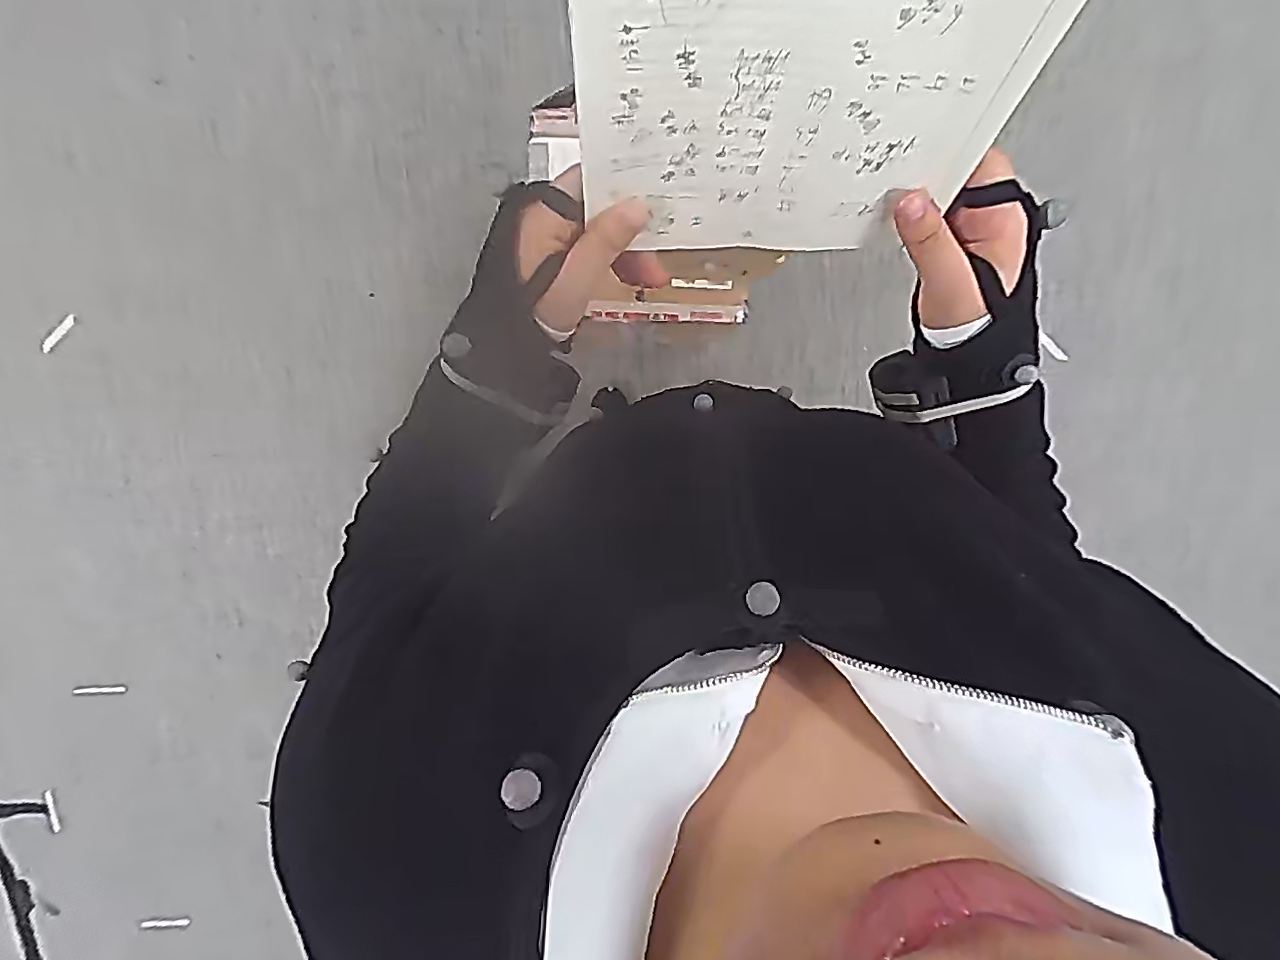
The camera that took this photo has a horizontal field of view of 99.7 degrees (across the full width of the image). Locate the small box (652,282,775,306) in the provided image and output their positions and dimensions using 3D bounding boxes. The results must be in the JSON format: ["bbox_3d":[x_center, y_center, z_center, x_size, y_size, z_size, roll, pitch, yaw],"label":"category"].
[{"bbox_3d":[0.114,-0.379,0.872,0.179,0.176,0.168,0,100,-2],"label":"small box"}]

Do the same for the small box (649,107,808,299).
[{"bbox_3d":[0.103,-0.347,0.710,0.168,0.176,0.179,4,101,-4],"label":"small box"}]
